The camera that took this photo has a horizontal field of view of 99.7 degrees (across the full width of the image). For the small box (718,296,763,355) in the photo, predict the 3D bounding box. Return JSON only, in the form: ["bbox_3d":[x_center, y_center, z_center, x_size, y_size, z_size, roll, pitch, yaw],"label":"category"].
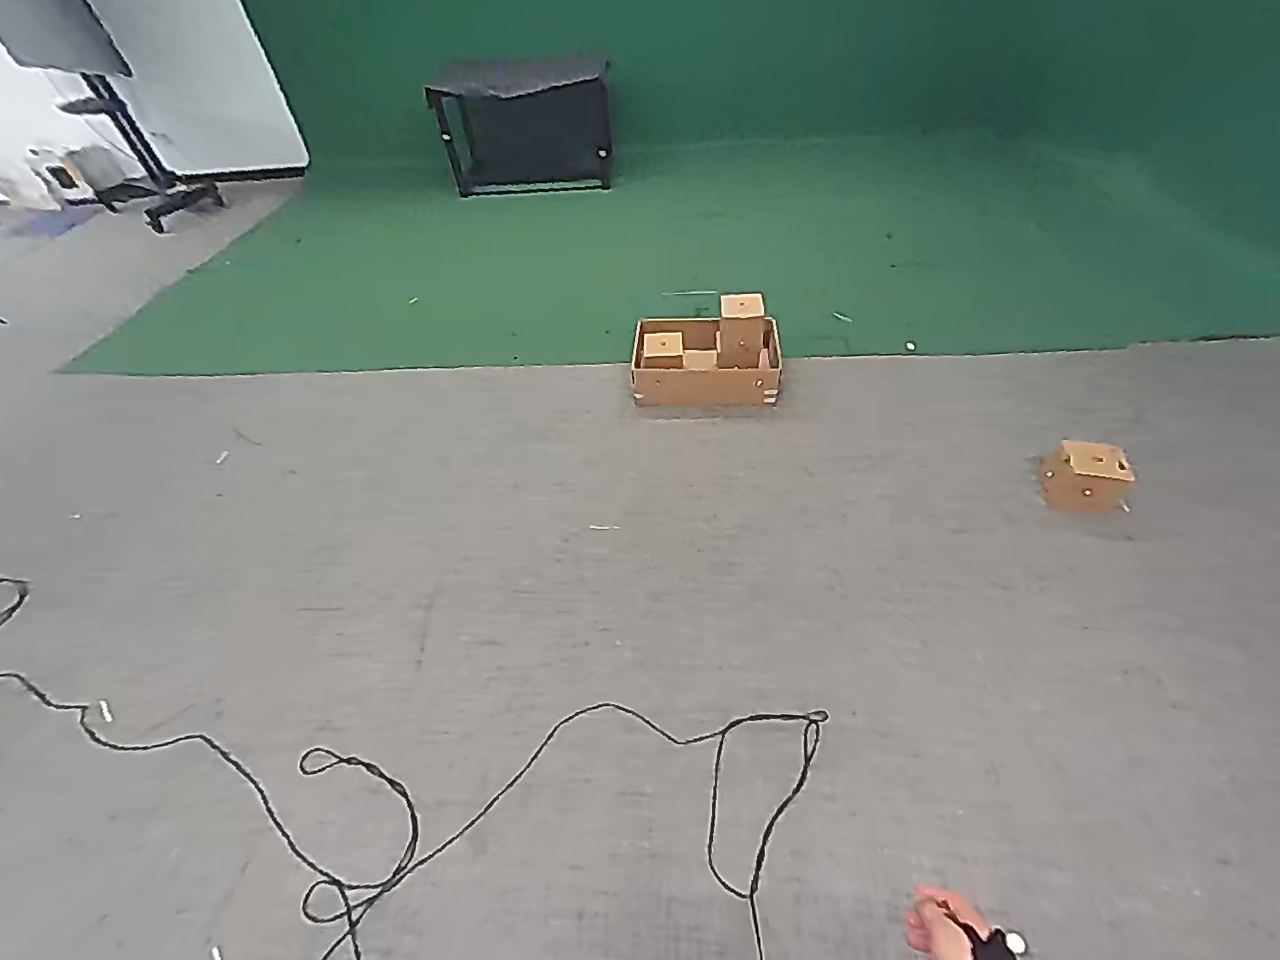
[{"bbox_3d":[0.406,-0.629,2.198,0.168,0.176,0.179,-1,48,7],"label":"small box"}]

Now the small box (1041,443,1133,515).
[{"bbox_3d":[1.478,-0.003,1.806,0.179,0.176,0.168,8,48,14],"label":"small box"}]
